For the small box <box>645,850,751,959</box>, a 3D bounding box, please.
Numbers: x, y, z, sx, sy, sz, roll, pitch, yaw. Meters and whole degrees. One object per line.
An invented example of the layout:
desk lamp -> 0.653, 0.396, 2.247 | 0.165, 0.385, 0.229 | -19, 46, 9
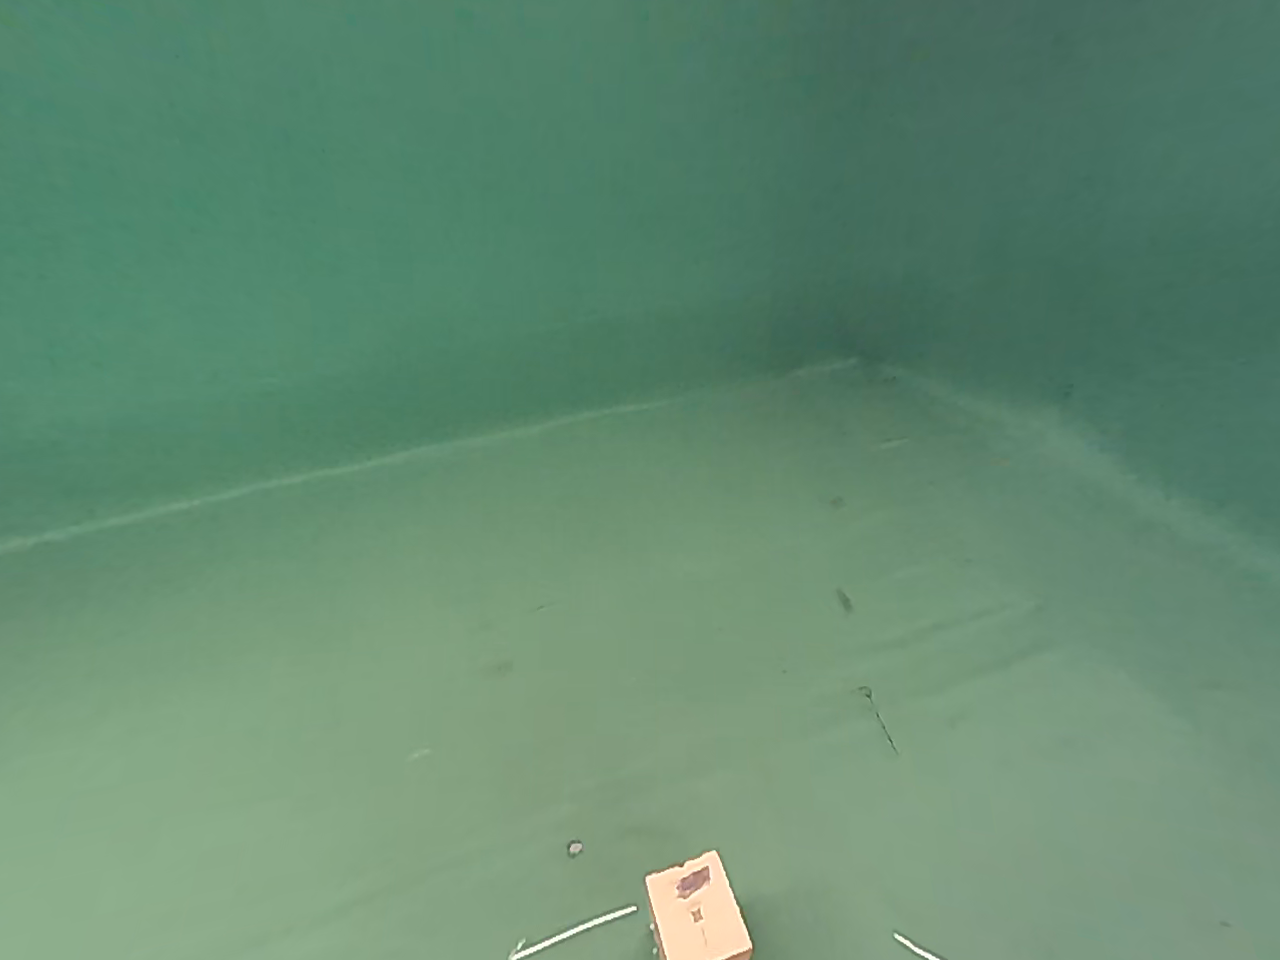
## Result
small box -> 0.113, 0.923, 1.126 | 0.168, 0.176, 0.179 | -13, 39, -12
